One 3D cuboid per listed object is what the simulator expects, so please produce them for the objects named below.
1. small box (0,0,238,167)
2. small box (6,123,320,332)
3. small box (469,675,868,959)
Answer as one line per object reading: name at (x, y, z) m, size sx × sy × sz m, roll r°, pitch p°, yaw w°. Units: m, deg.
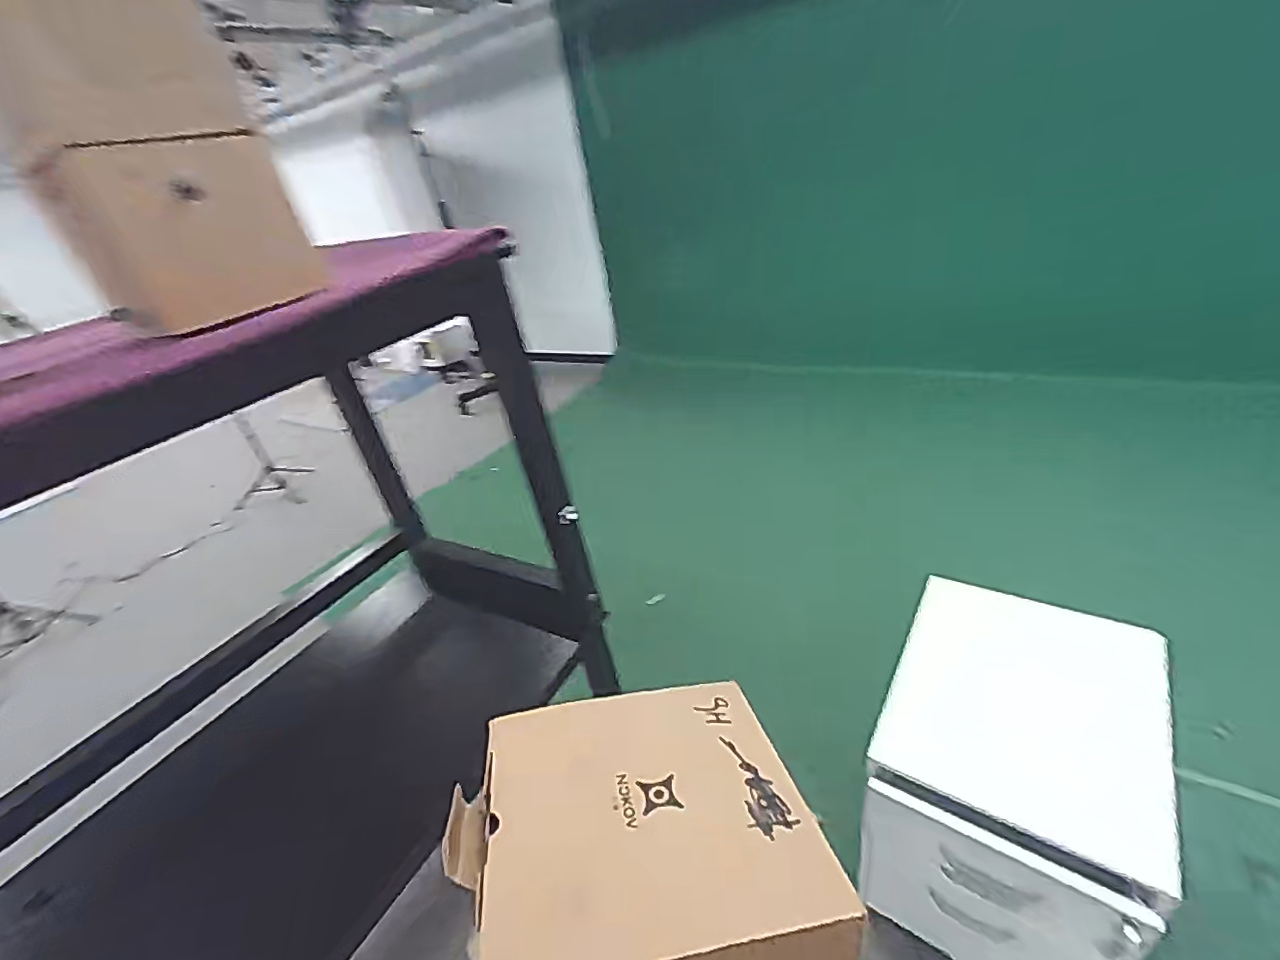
small box at (-0.541, -0.403, 0.512) m, size 0.168 × 0.176 × 0.179 m, roll 7°, pitch 35°, yaw 32°
small box at (-0.503, -0.266, 0.591) m, size 0.168 × 0.176 × 0.179 m, roll 7°, pitch 35°, yaw 32°
small box at (0.006, 0.247, 0.319) m, size 0.179 × 0.176 × 0.168 m, roll -5°, pitch 19°, yaw -10°
